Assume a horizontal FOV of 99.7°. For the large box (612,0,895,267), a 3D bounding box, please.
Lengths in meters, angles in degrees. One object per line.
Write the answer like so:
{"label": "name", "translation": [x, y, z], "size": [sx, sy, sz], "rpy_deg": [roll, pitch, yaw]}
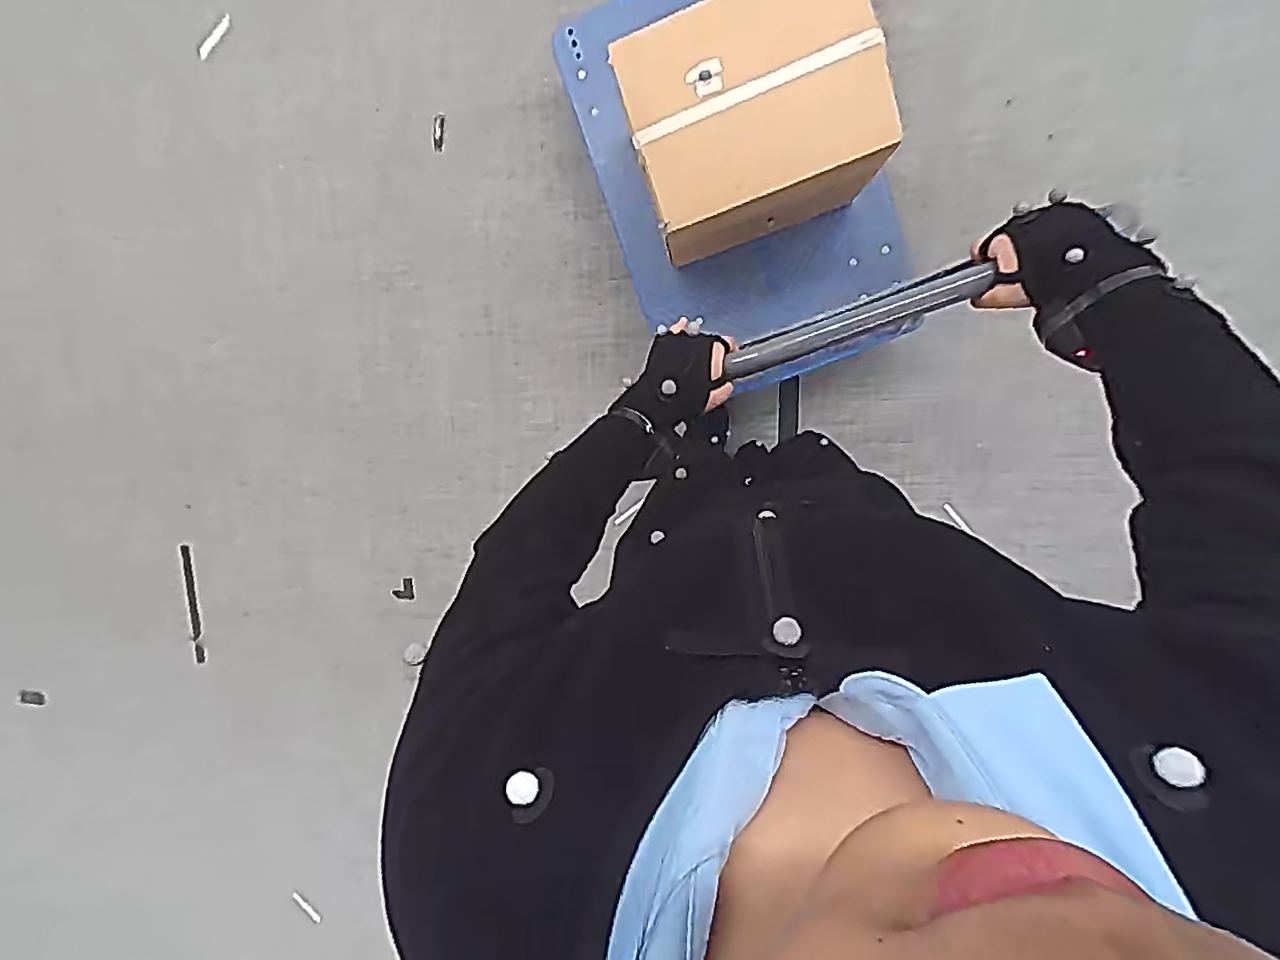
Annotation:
{"label": "large box", "translation": [0.205, -0.661, 1.044], "size": [0.408, 0.320, 0.320], "rpy_deg": [-19, 97, 10]}
